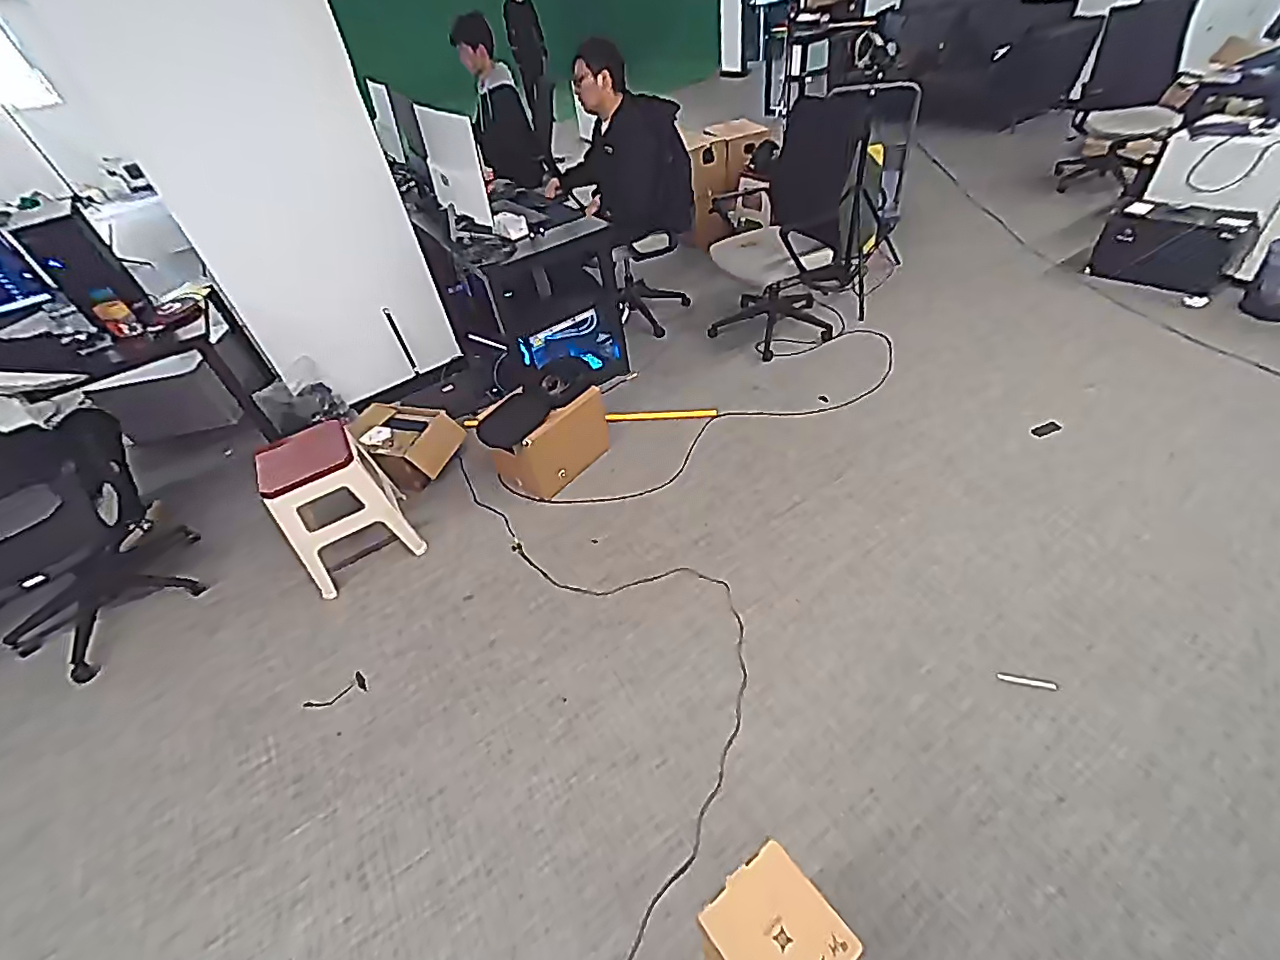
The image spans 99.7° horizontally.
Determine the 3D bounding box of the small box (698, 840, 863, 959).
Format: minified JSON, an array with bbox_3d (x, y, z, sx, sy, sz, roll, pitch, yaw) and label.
[{"bbox_3d":[0.208,0.713,0.835,0.168,0.176,0.179,-32,48,-22],"label":"small box"}]
